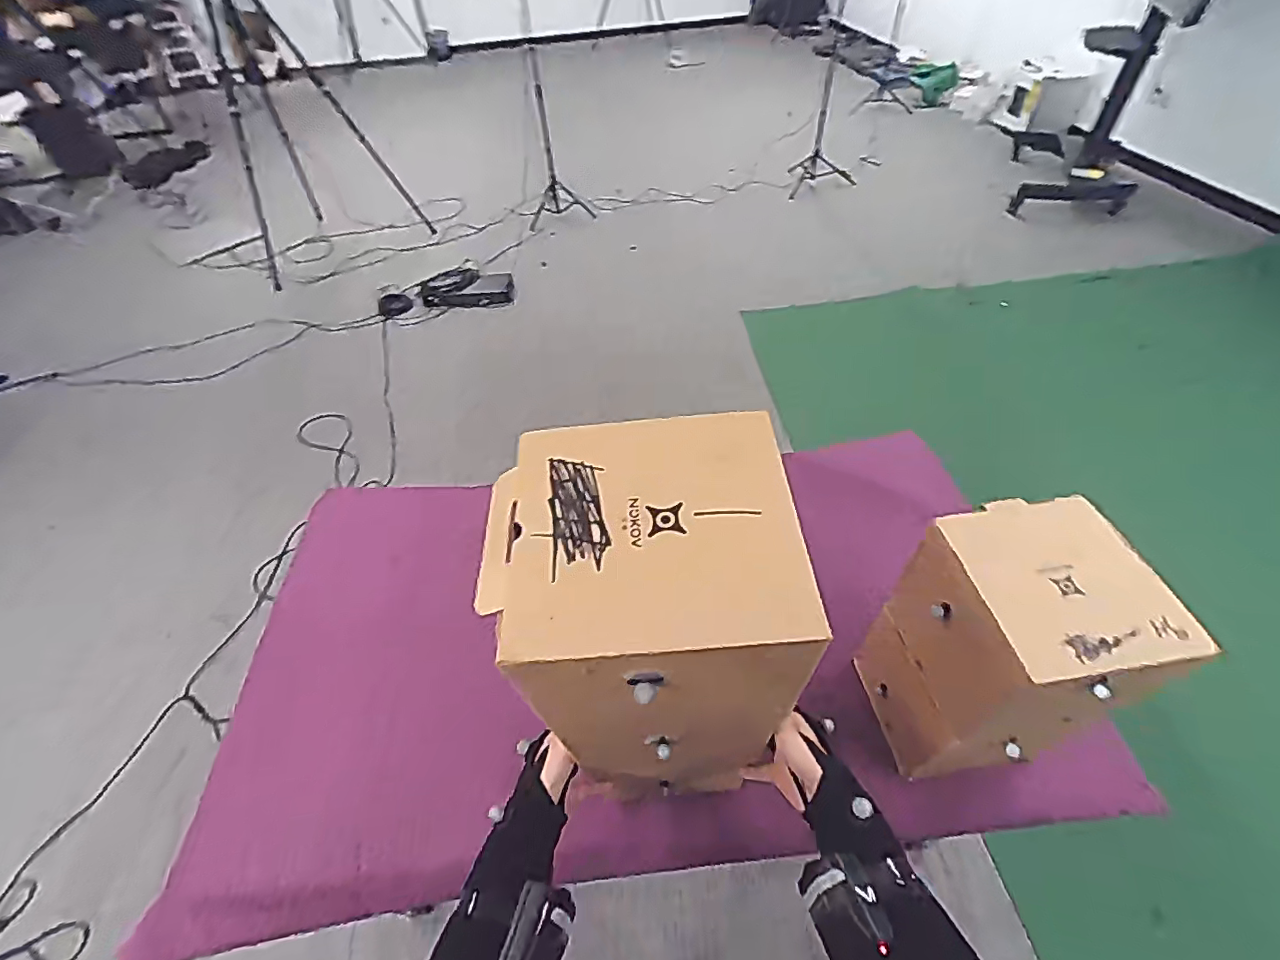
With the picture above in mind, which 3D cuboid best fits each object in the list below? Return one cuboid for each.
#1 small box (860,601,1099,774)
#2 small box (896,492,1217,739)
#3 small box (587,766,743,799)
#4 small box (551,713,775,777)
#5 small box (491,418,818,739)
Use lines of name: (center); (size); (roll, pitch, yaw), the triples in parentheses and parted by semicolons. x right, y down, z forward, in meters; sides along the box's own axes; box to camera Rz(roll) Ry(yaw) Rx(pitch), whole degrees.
small box: (0.408, 0.252, 0.683); (0.179, 0.176, 0.168); (-11, 49, -2)
small box: (0.396, 0.141, 0.562); (0.168, 0.176, 0.179); (-11, 48, -1)
small box: (0.031, 0.274, 0.653); (0.168, 0.176, 0.179); (-6, 50, 2)
small box: (0.022, 0.178, 0.521); (0.179, 0.176, 0.168); (-5, 52, 2)
small box: (0.011, 0.078, 0.391); (0.179, 0.176, 0.168); (-6, 52, 2)
